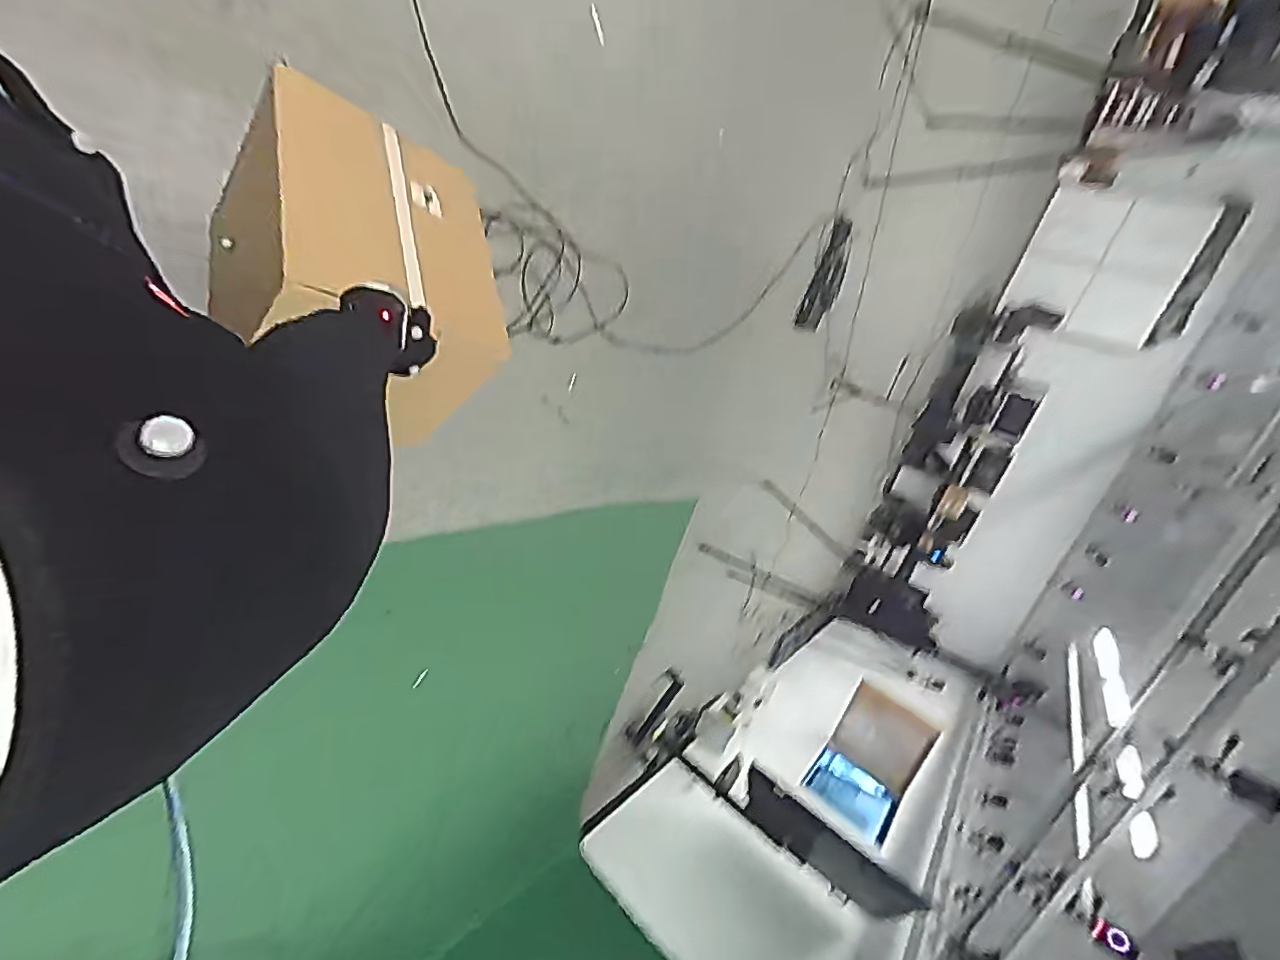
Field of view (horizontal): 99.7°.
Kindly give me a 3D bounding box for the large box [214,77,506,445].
[{"bbox_3d":[-0.471,-0.314,0.888,0.320,0.408,0.320,-33,154,31],"label":"large box"}]
